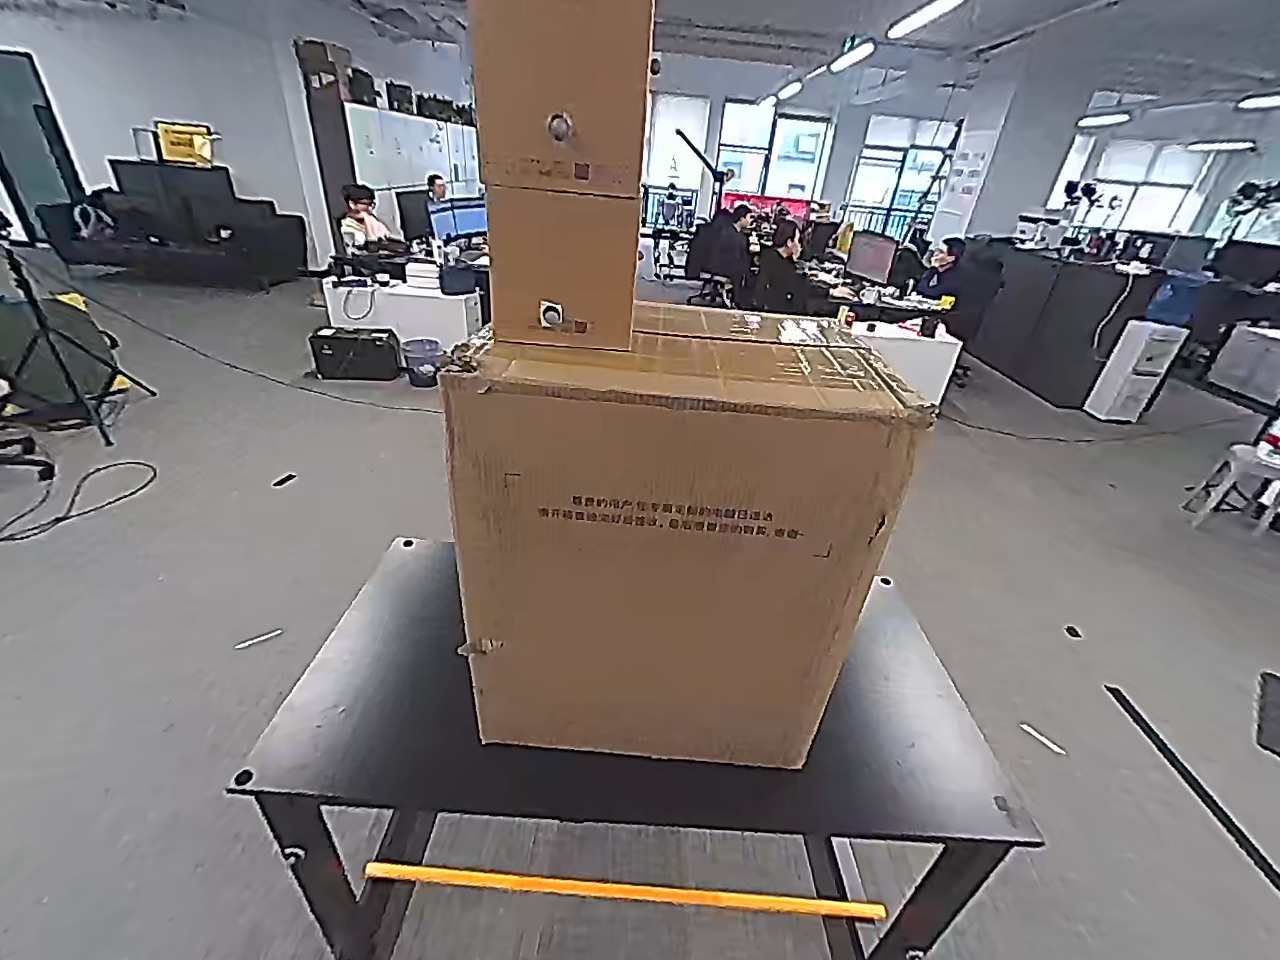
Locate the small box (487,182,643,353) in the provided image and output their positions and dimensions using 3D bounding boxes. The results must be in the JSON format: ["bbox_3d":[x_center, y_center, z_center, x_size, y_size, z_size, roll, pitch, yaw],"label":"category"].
[{"bbox_3d":[-0.088,-0.269,0.670,0.168,0.176,0.179,2,32,-5],"label":"small box"}]

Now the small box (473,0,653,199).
[{"bbox_3d":[-0.077,-0.409,0.584,0.168,0.176,0.179,3,31,-3],"label":"small box"}]
